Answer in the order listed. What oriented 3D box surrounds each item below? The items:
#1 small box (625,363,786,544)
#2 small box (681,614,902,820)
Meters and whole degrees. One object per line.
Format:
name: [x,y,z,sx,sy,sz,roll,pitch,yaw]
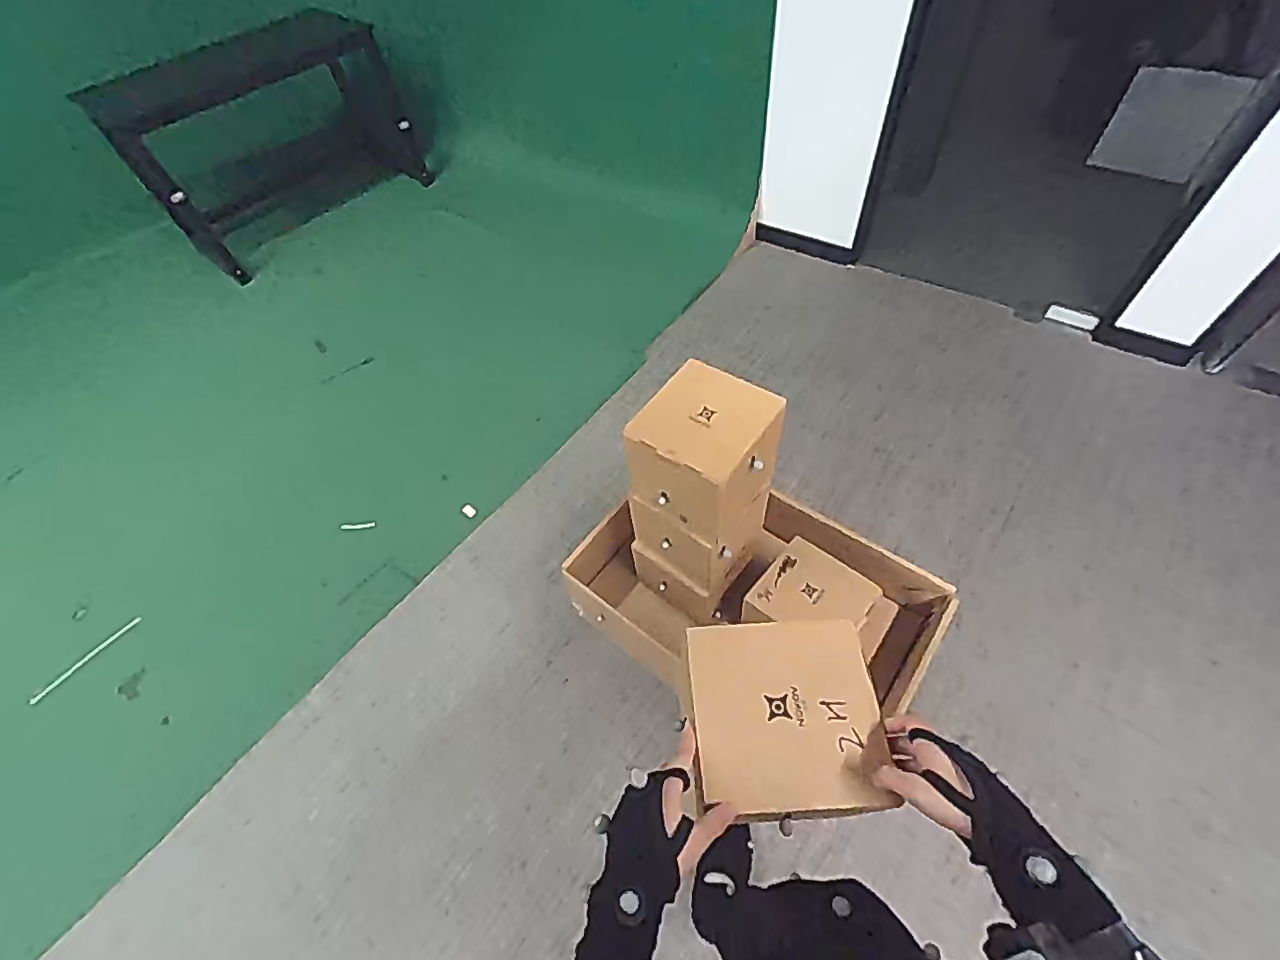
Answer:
small box: [0.098,-0.038,0.820,0.168,0.176,0.179,29,63,24]
small box: [0.136,0.253,0.568,0.179,0.176,0.168,-3,56,-1]
